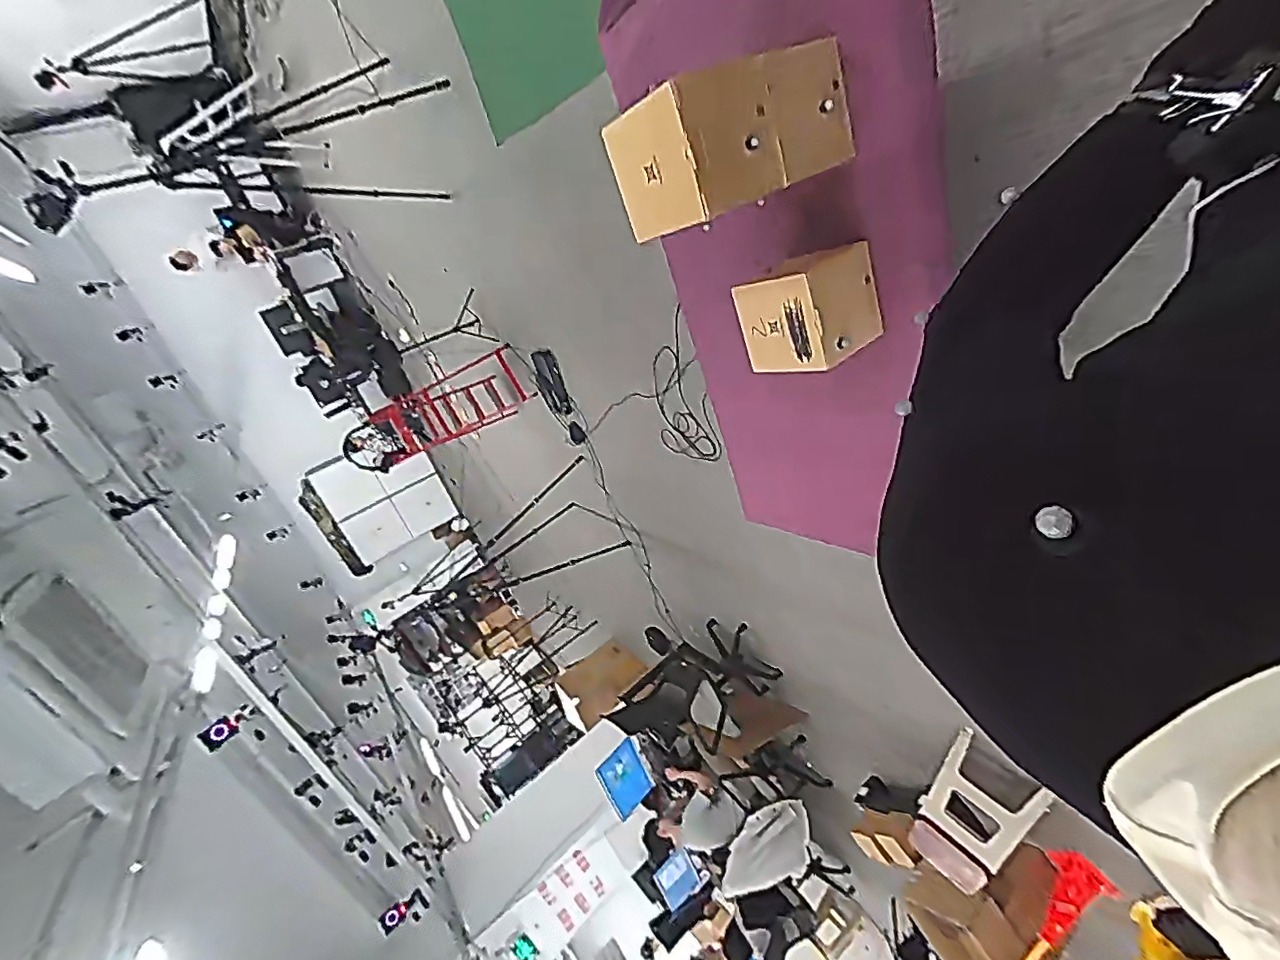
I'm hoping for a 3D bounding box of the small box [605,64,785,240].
[{"bbox_3d":[0.082,-0.476,0.798,0.179,0.176,0.168,15,132,54],"label":"small box"}]

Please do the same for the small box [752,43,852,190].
[{"bbox_3d":[0.206,-0.556,0.865,0.179,0.176,0.168,16,133,54],"label":"small box"}]
